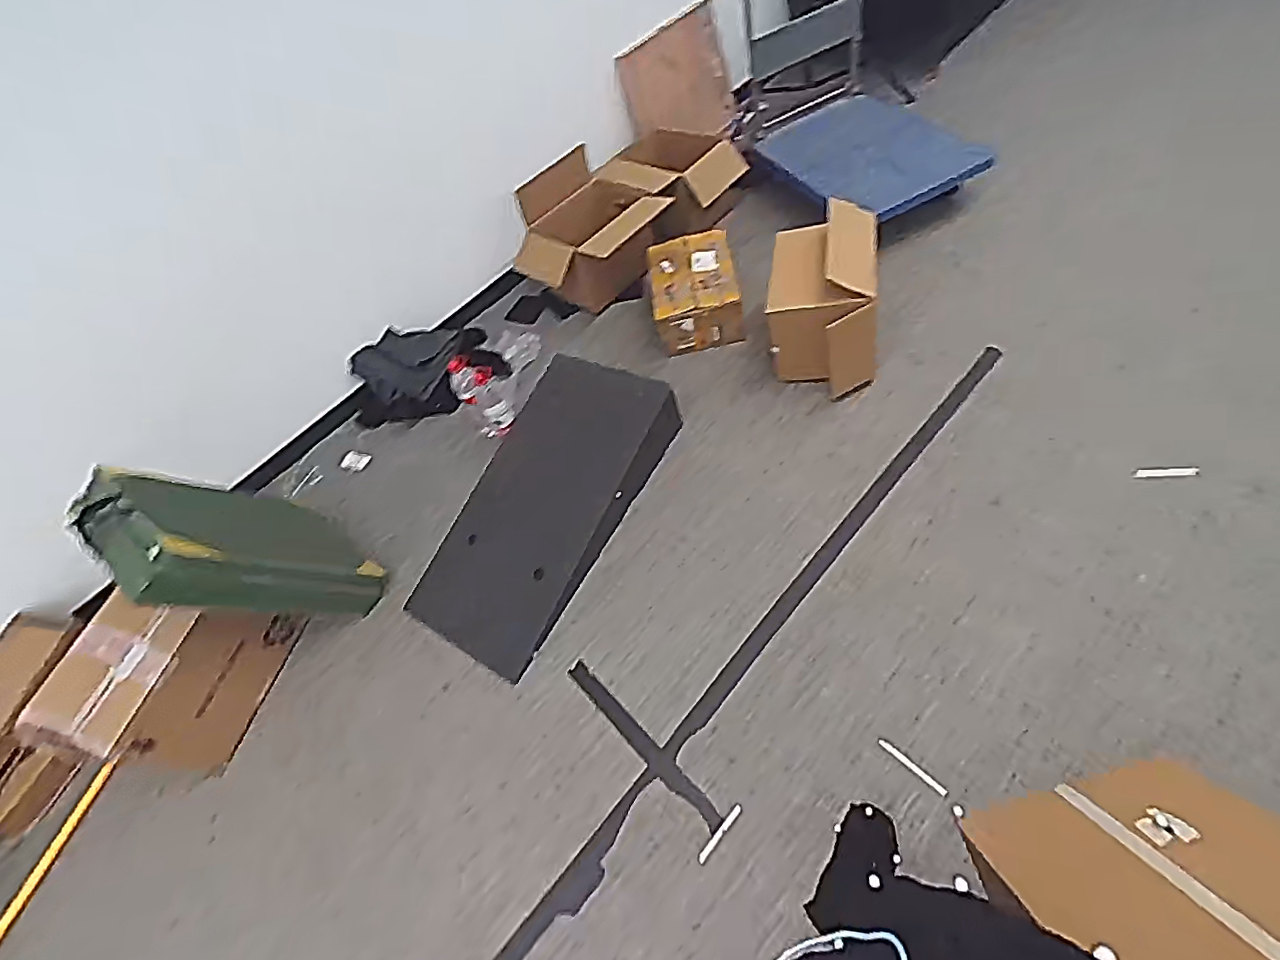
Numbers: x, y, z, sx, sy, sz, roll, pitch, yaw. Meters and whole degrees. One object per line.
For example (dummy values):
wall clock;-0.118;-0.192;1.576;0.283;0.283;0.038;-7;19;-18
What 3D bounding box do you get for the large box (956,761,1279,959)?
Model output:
large box;0.651;0.592;0.594;0.320;0.408;0.320;-19;85;4
